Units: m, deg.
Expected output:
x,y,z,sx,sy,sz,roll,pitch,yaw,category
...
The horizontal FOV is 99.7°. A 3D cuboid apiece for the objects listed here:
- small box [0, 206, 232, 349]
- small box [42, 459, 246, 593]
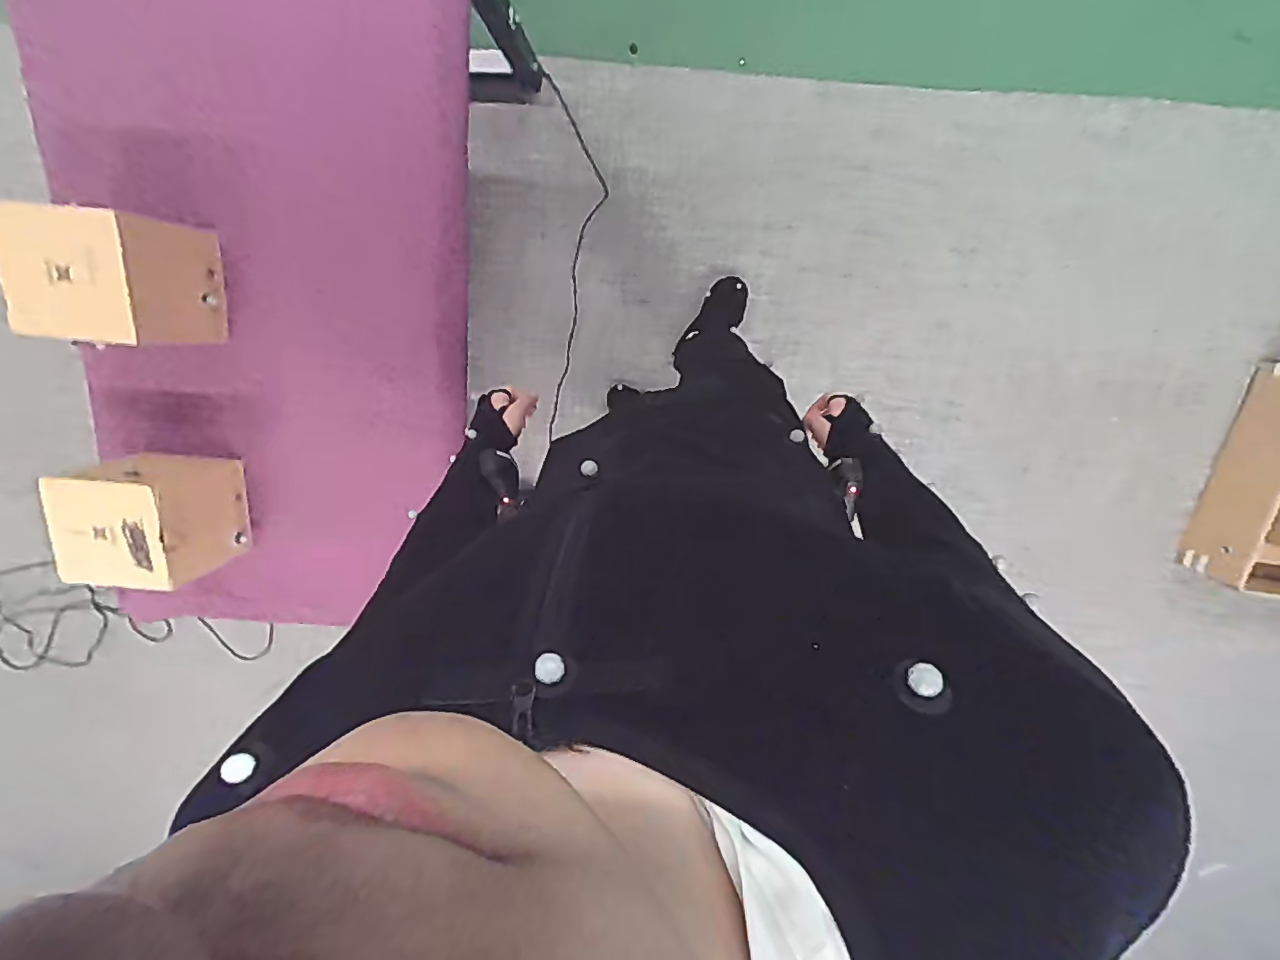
x,y,z,sx,sy,sz,roll,pitch,yaw,category
-0.740,-0.280,0.779,0.179,0.176,0.168,6,105,1,small box
-0.771,0.065,0.867,0.179,0.176,0.168,5,104,3,small box
